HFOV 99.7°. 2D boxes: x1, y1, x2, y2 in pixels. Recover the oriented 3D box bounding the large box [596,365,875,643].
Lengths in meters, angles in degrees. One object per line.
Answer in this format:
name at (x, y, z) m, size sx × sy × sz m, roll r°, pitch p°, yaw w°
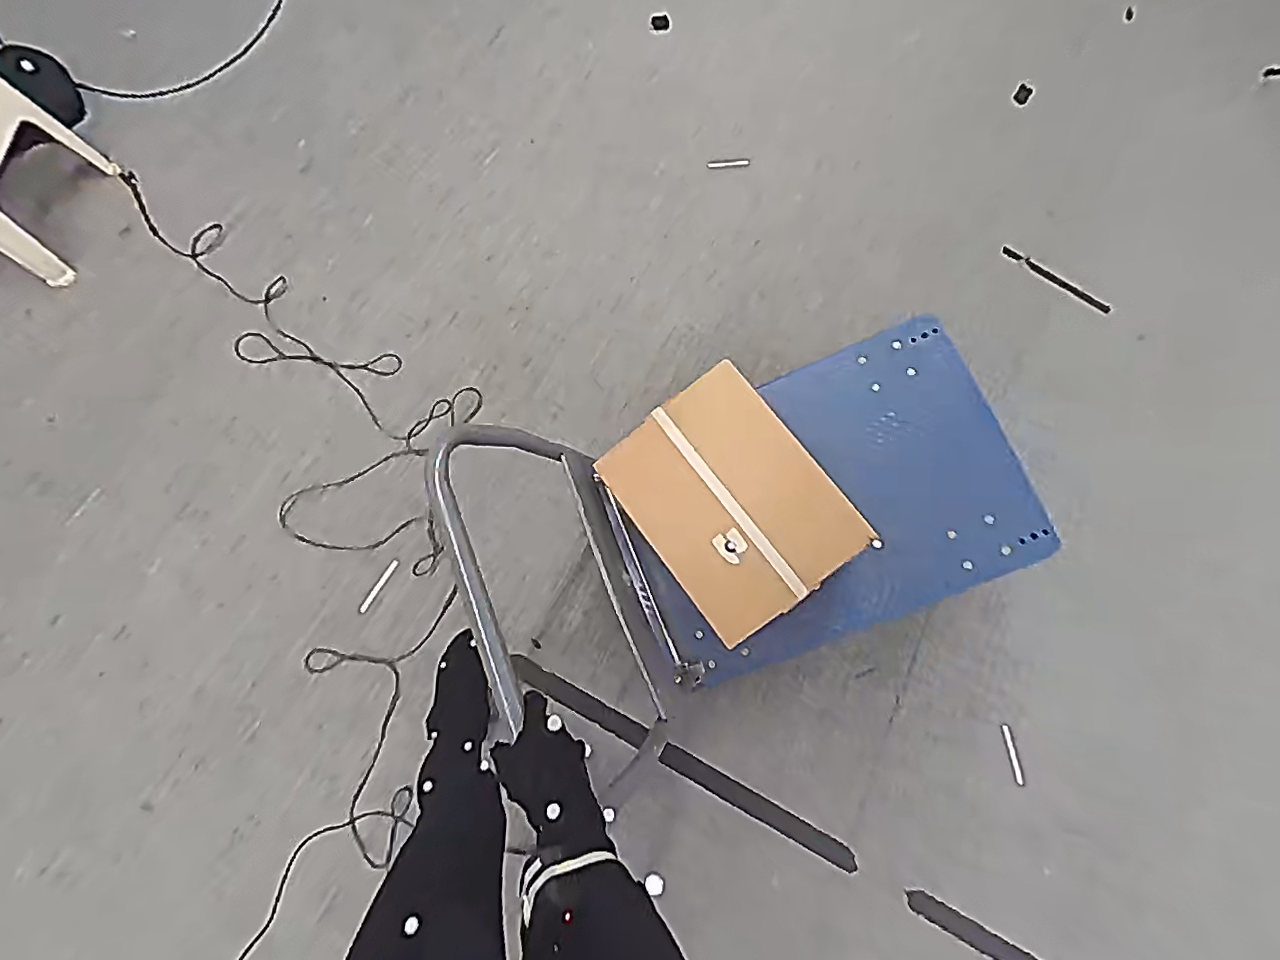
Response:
large box at (0.178, 0.050, 1.090) m, size 0.320 × 0.320 × 0.408 m, roll -39°, pitch 79°, yaw 5°
